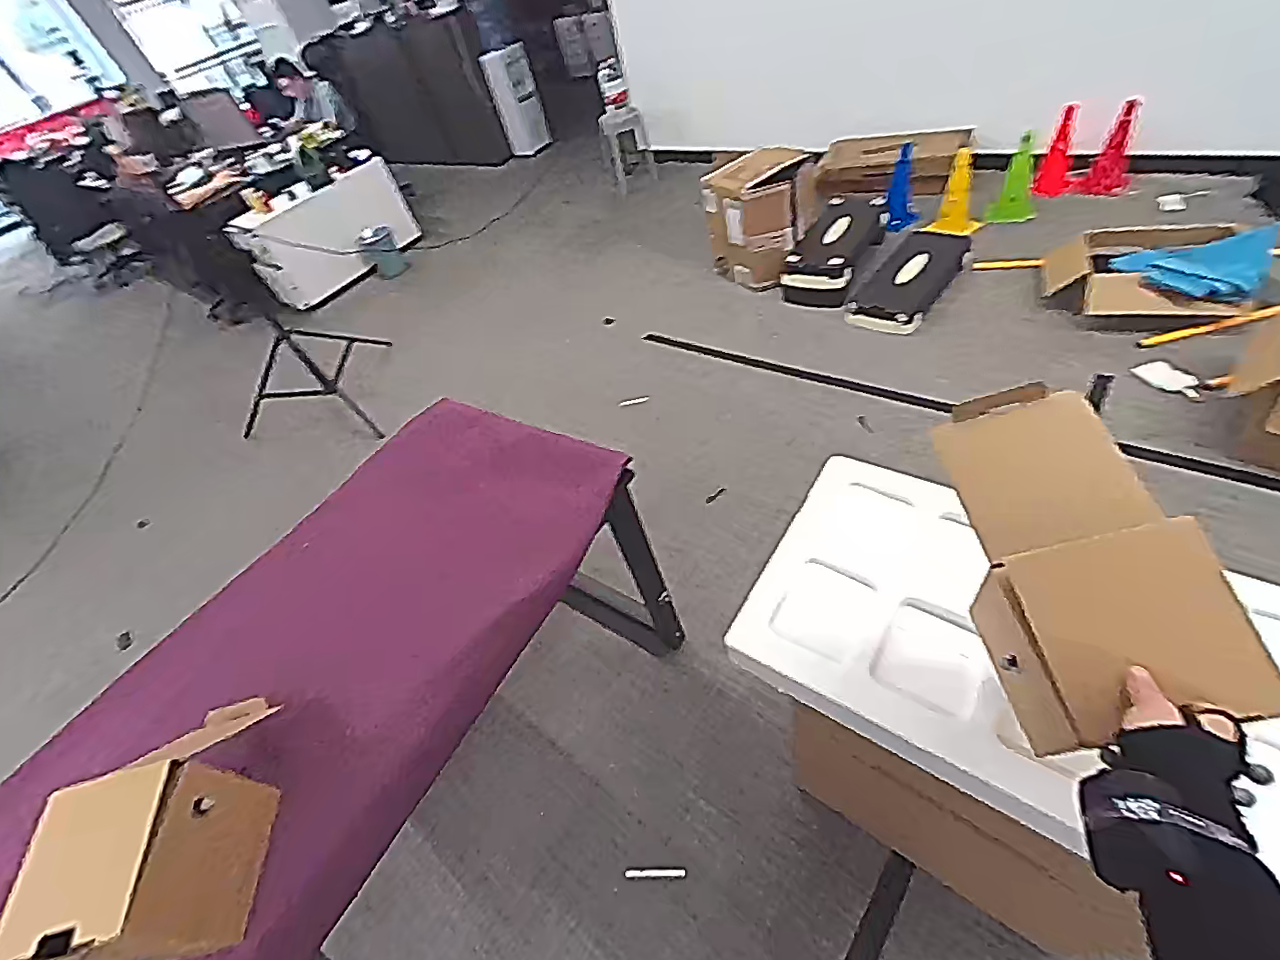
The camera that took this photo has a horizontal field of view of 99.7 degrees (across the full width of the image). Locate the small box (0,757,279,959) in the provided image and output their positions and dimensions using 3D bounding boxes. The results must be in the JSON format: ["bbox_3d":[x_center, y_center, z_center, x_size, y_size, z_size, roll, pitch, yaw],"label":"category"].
[{"bbox_3d":[-0.604,0.484,0.683,0.168,0.176,0.179,-17,46,4],"label":"small box"}]
